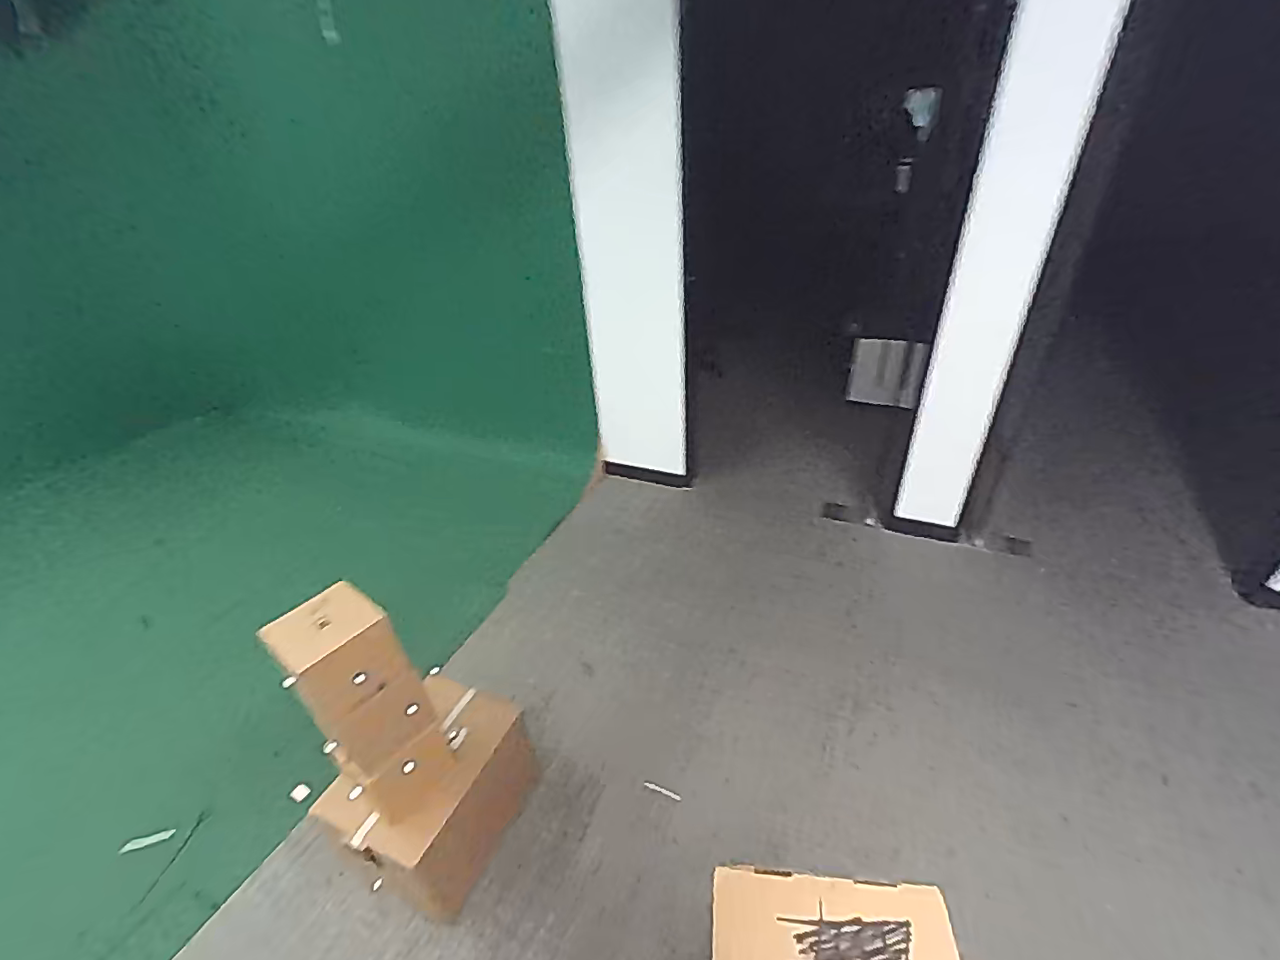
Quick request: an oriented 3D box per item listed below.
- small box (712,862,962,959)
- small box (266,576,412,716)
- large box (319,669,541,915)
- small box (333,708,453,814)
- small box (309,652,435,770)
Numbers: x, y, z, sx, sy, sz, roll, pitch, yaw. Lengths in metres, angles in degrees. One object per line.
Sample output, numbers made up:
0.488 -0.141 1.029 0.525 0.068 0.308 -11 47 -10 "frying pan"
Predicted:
0.136 0.408 0.390 0.168 0.176 0.179 0 42 7 "small box"
-0.581 0.328 1.060 0.179 0.176 0.168 21 40 34 "small box"
-0.508 0.783 1.399 0.320 0.320 0.408 11 35 21 "large box"
-0.549 0.606 1.230 0.168 0.176 0.179 18 40 30 "small box"
-0.560 0.464 1.150 0.168 0.176 0.179 20 41 34 "small box"
